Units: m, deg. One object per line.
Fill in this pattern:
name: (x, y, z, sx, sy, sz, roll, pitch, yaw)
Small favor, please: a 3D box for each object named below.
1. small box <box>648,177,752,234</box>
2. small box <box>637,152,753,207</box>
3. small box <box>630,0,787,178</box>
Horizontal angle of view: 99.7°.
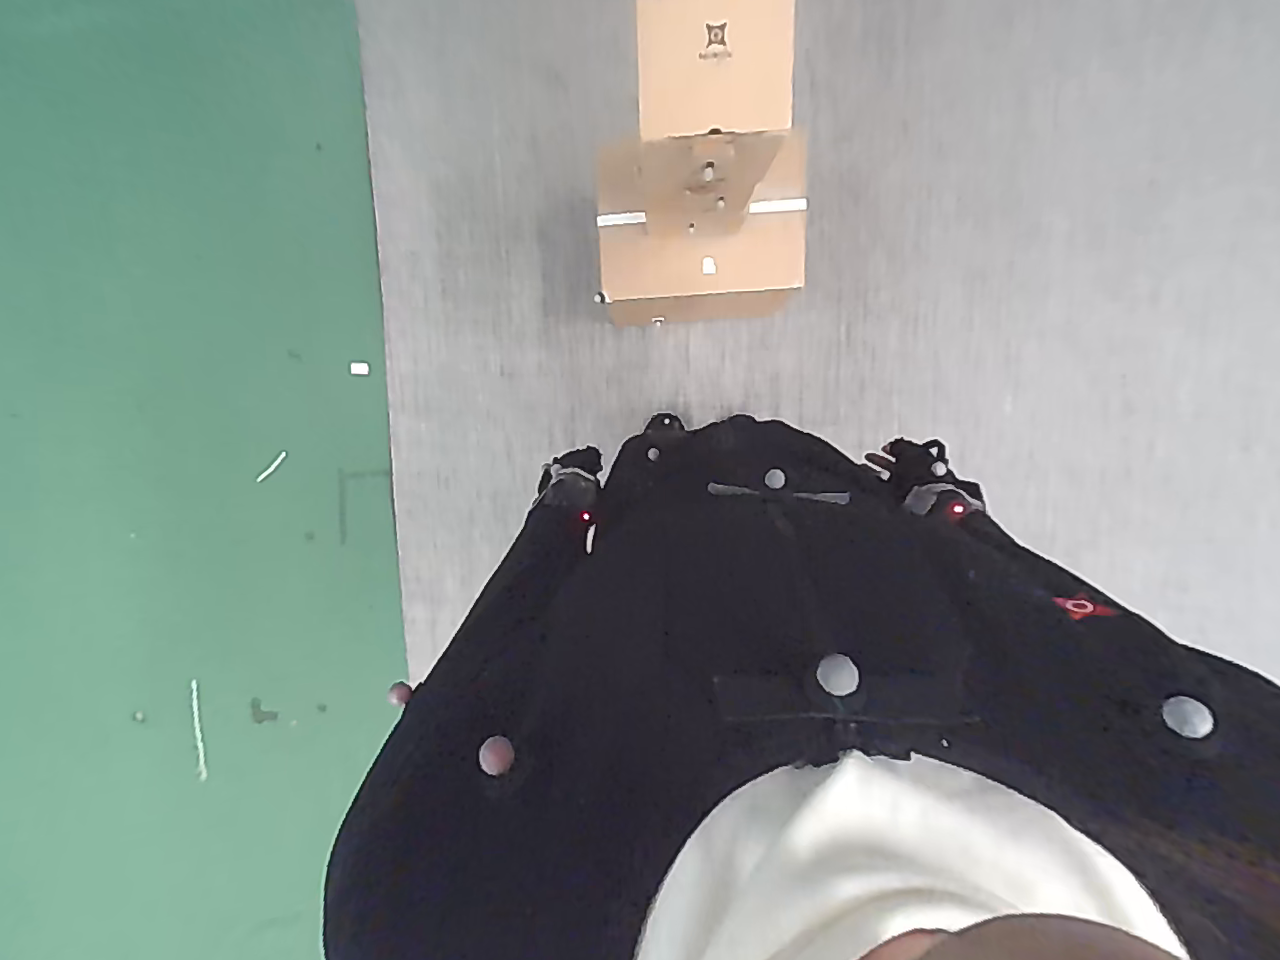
small box: (0.100, -0.549, 0.968, 0.179, 0.176, 0.168, -3, 103, 4)
small box: (0.081, -0.520, 0.810, 0.168, 0.176, 0.179, 0, 102, 3)
small box: (0.078, -0.480, 0.651, 0.168, 0.176, 0.179, -1, 104, 3)
